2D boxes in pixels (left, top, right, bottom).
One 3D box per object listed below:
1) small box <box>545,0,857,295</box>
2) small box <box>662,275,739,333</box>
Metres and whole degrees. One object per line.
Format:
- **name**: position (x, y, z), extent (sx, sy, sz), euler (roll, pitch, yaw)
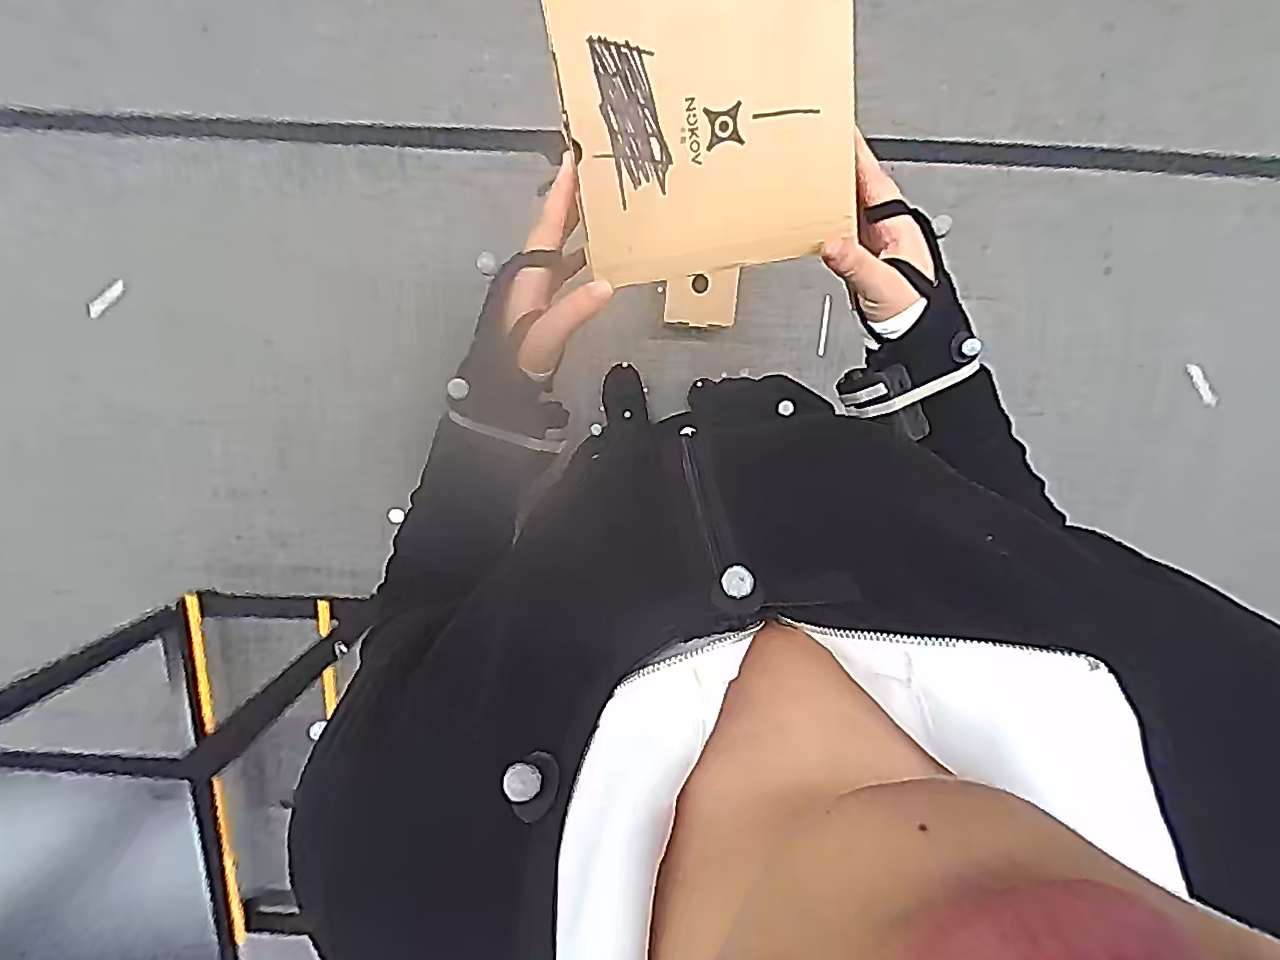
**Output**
- **small box**: position (0.044, -0.237, 0.403), extent (0.179, 0.176, 0.168), euler (-9, 111, 3)
- **small box**: position (0.144, -0.457, 1.321), extent (0.168, 0.176, 0.179), euler (5, 103, 0)
